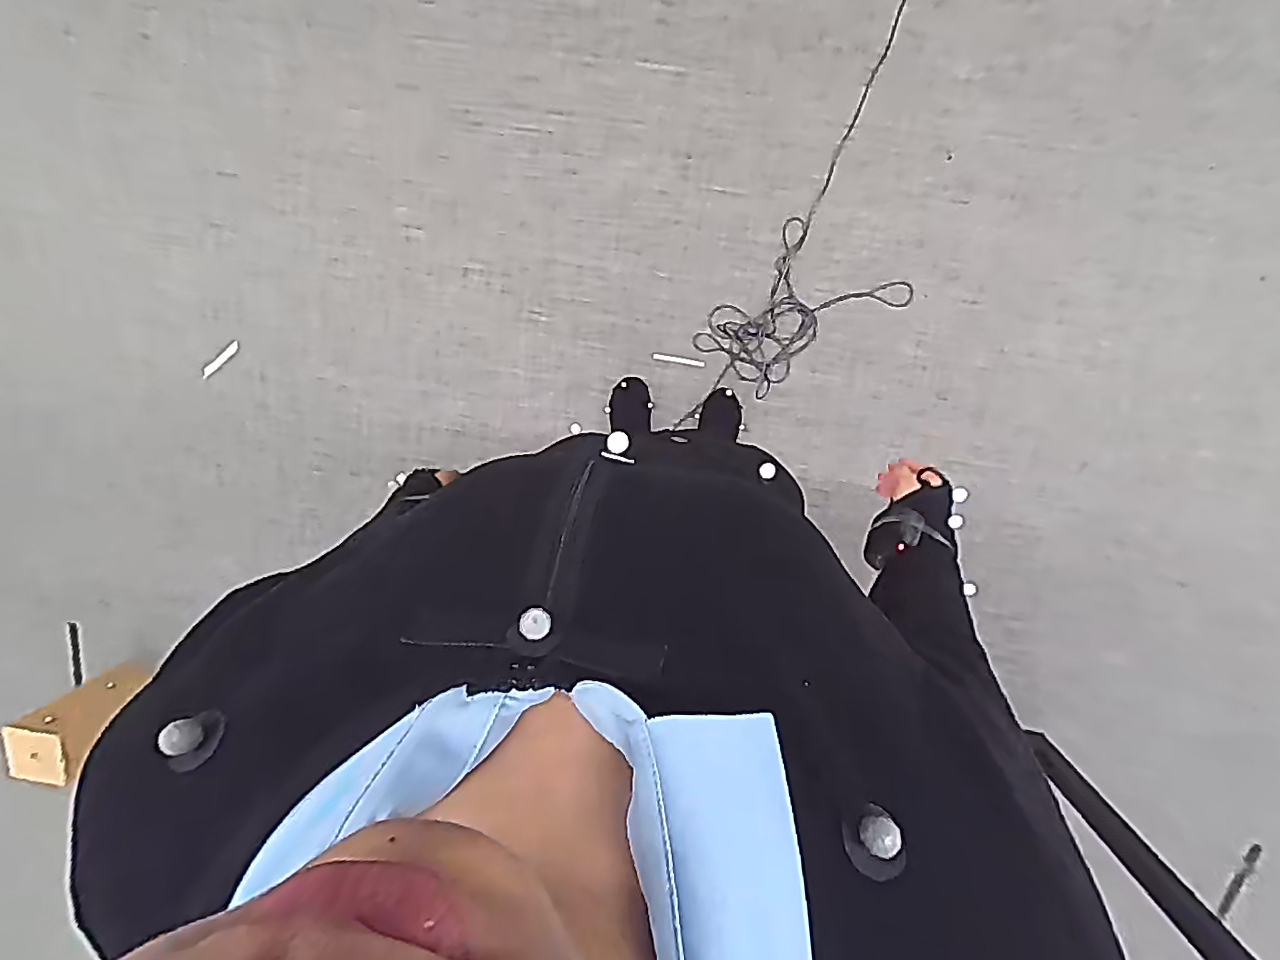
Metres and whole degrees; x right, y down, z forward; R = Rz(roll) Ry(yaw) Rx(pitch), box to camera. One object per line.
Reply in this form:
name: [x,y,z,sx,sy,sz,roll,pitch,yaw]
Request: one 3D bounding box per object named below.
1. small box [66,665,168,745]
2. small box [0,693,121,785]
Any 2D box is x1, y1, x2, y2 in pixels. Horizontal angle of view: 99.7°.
small box: [-1.664,0.714,1.735,0.179,0.176,0.168,6,102,5]
small box: [-1.681,0.747,1.576,0.179,0.176,0.168,7,102,4]
